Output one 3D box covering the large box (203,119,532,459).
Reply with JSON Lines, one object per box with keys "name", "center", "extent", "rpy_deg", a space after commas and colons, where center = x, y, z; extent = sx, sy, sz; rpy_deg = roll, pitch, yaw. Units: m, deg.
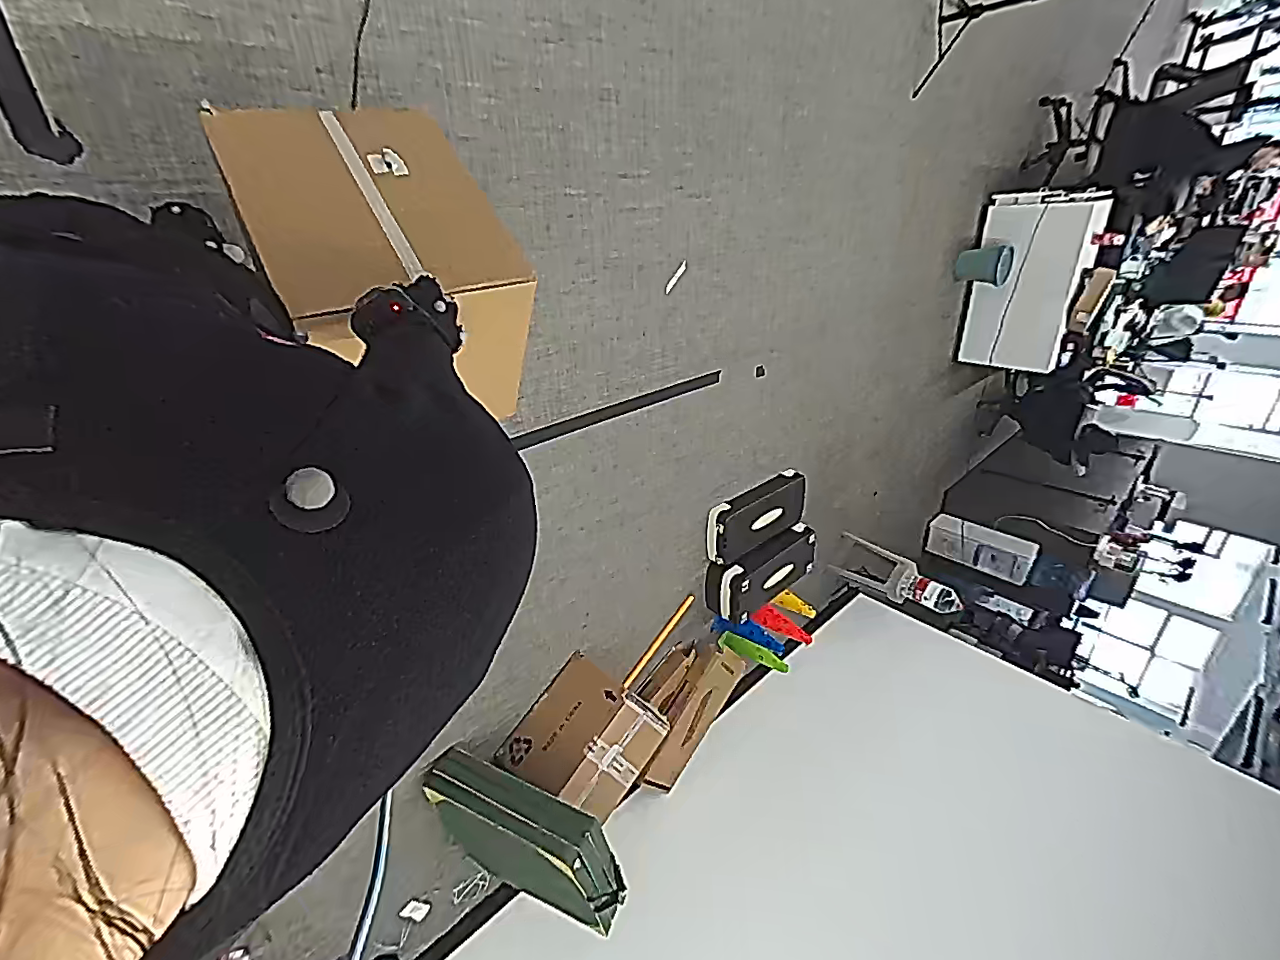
{"name": "large box", "center": [-0.419, -0.309, 0.880], "extent": [0.320, 0.408, 0.320], "rpy_deg": [-22, 158, -30]}
